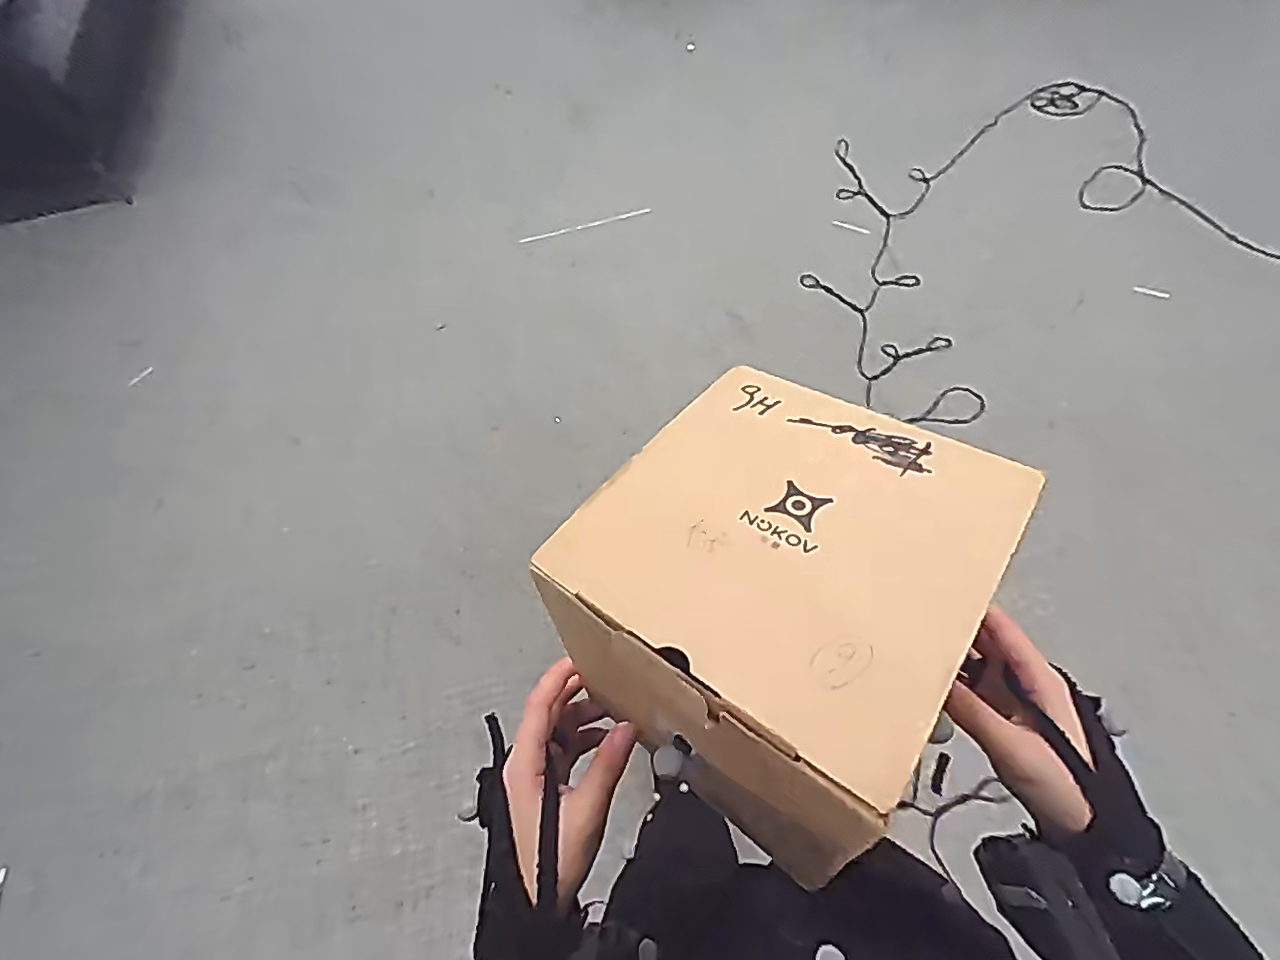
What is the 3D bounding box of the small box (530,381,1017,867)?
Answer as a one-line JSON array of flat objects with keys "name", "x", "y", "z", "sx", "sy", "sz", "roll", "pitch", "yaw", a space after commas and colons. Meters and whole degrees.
[{"name": "small box", "x": 0.072, "y": 0.078, "z": 0.311, "sx": 0.168, "sy": 0.176, "sz": 0.179, "roll": 27, "pitch": 57, "yaw": 30}]
